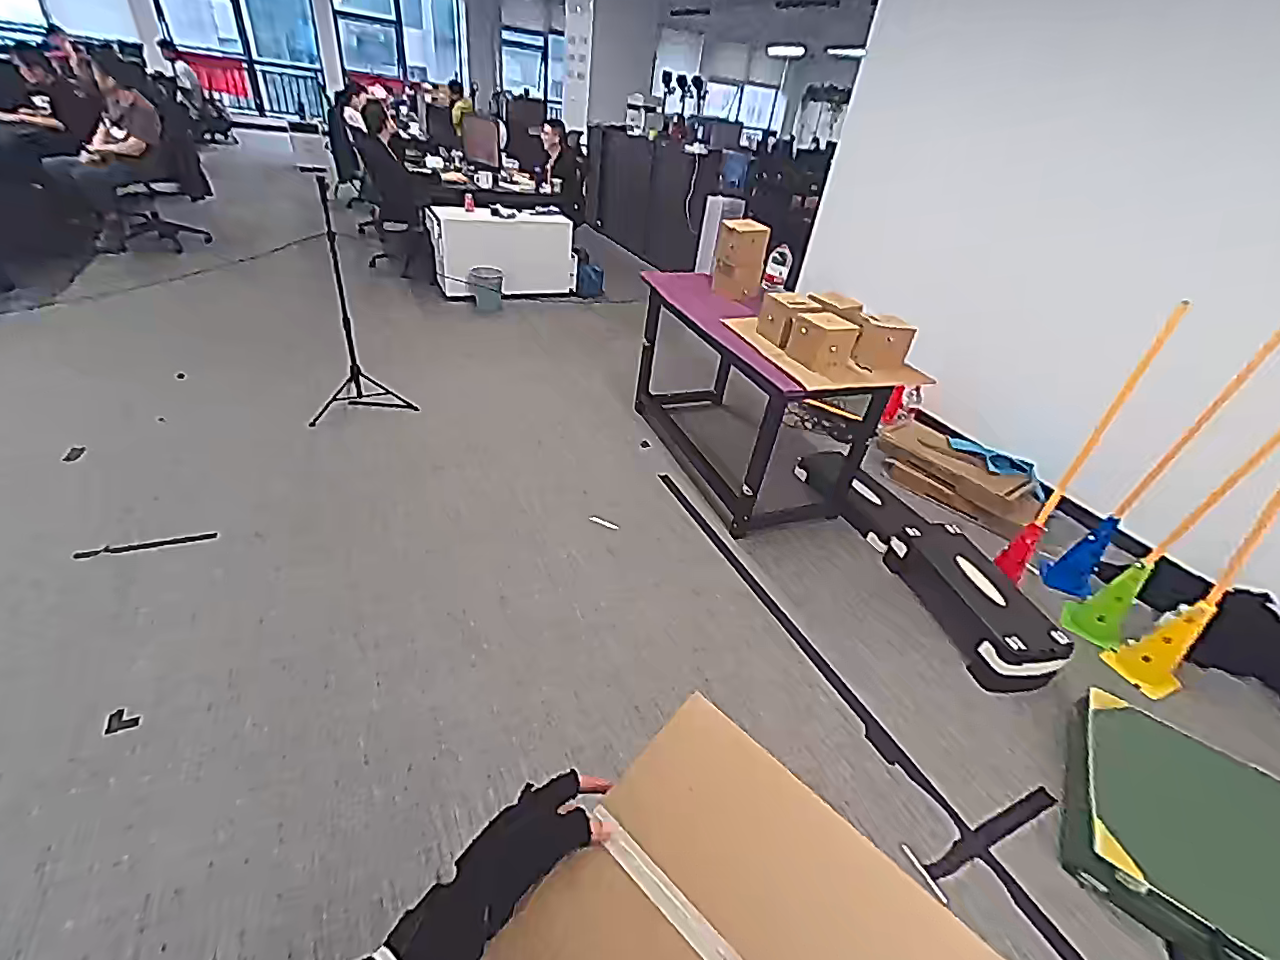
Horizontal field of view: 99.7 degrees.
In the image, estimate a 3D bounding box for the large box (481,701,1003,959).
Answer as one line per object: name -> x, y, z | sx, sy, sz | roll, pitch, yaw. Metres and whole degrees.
large box -> 0.096, 0.518, 0.543 | 0.408, 0.320, 0.320 | 35, 56, 24
